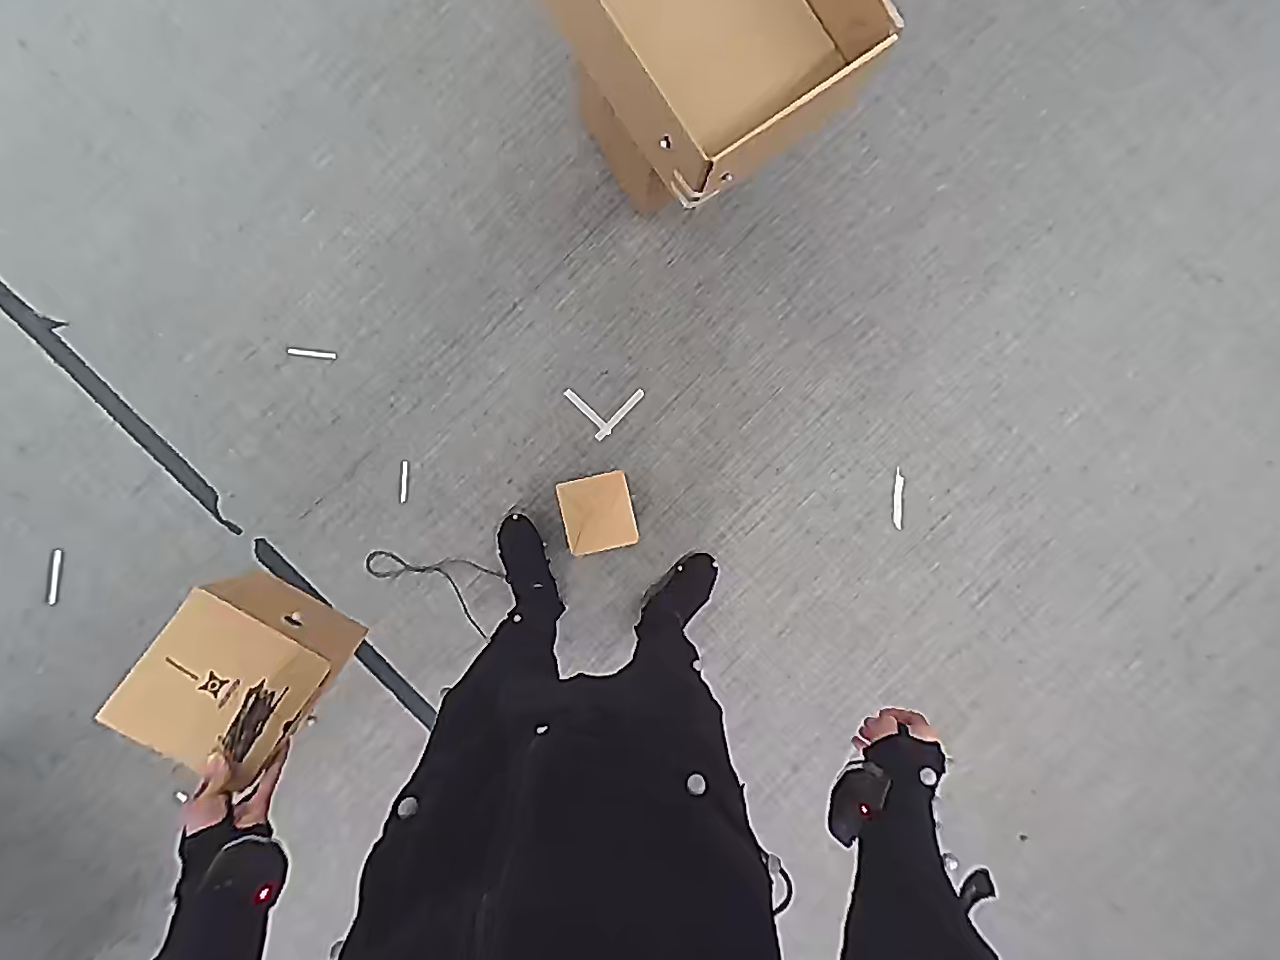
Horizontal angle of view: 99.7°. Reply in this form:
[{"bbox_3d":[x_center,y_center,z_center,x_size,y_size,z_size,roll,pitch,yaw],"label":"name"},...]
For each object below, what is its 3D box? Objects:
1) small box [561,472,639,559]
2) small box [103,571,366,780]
[{"bbox_3d":[-0.098,0.083,1.349,0.168,0.176,0.179,-12,93,-1],"label":"small box"},{"bbox_3d":[-0.484,0.229,0.686,0.179,0.176,0.168,34,79,-10],"label":"small box"}]
